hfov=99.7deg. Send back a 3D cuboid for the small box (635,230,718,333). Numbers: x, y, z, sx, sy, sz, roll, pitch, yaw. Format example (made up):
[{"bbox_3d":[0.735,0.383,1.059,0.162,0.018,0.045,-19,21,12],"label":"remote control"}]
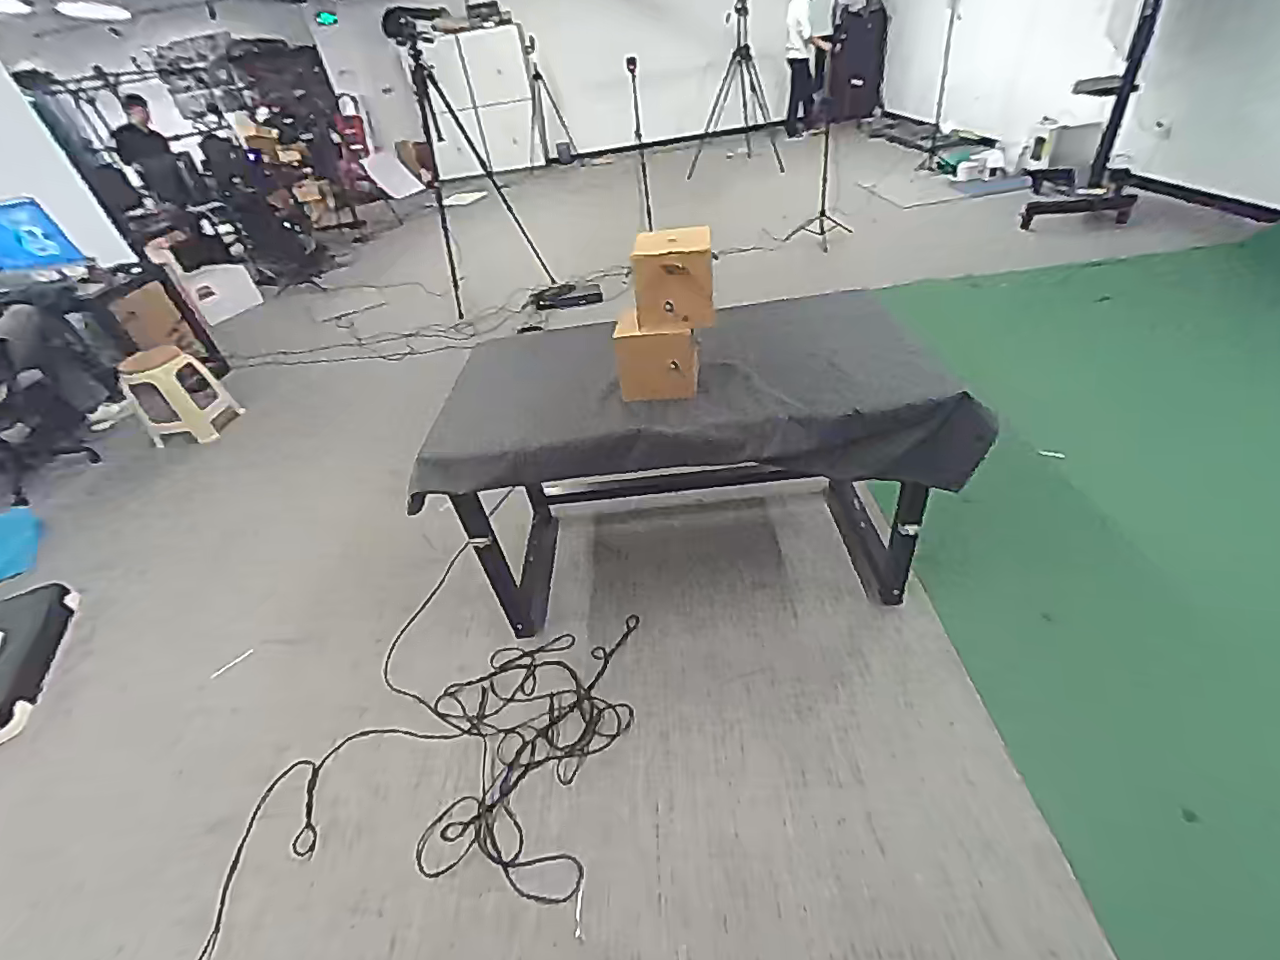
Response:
[{"bbox_3d":[0.087,-0.441,1.205,0.168,0.176,0.179,-2,38,9],"label":"small box"}]

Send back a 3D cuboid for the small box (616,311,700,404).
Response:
[{"bbox_3d":[0.052,-0.295,1.291,0.179,0.176,0.168,-2,37,10],"label":"small box"}]
